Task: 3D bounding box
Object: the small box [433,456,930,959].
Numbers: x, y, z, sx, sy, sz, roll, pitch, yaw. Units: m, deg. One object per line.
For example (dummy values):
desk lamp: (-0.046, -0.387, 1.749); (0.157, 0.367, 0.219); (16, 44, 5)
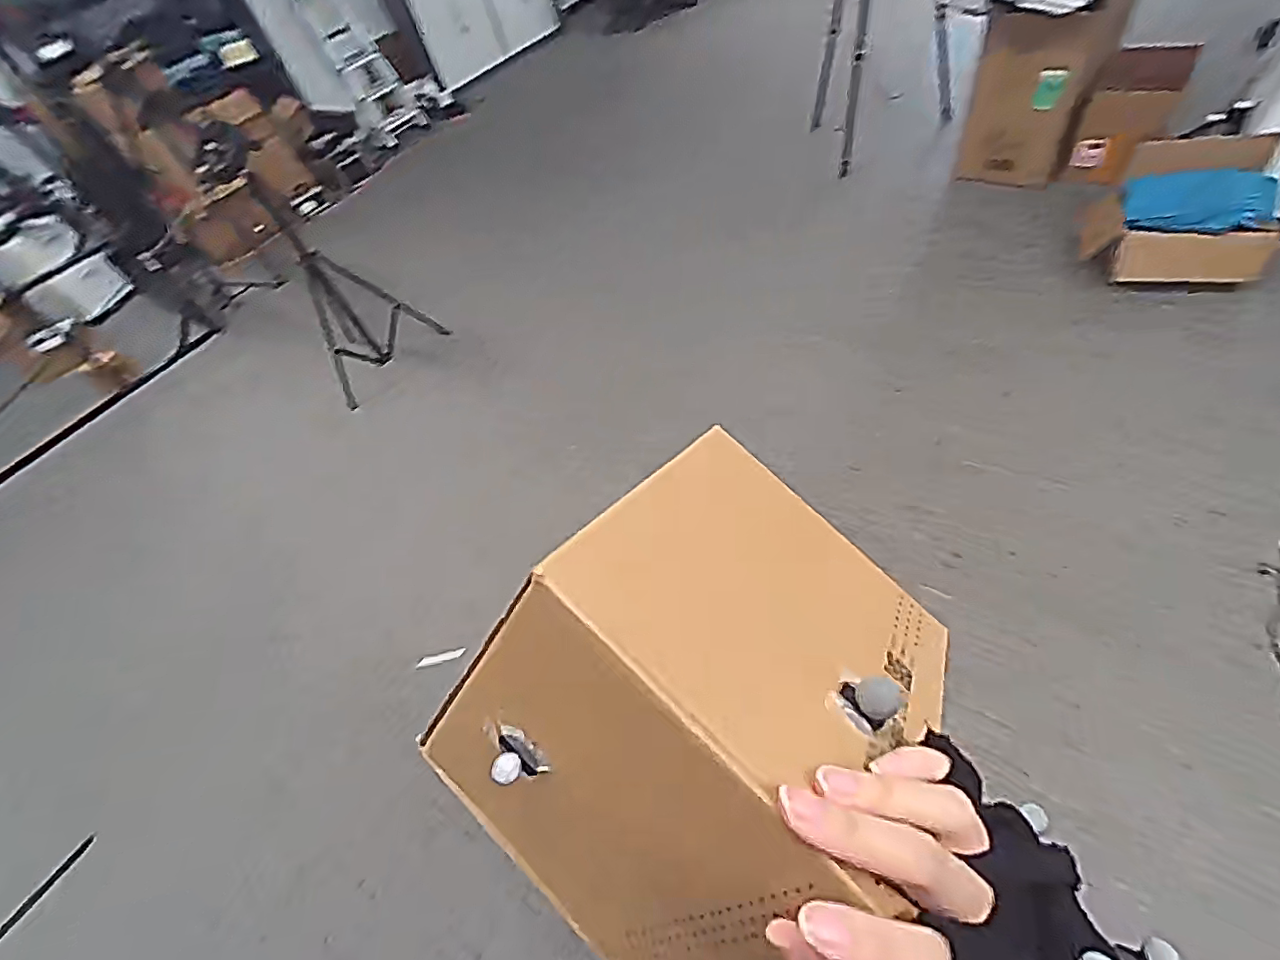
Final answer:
small box: (0.023, 0.124, 0.301); (0.176, 0.179, 0.168); (41, 37, 8)
